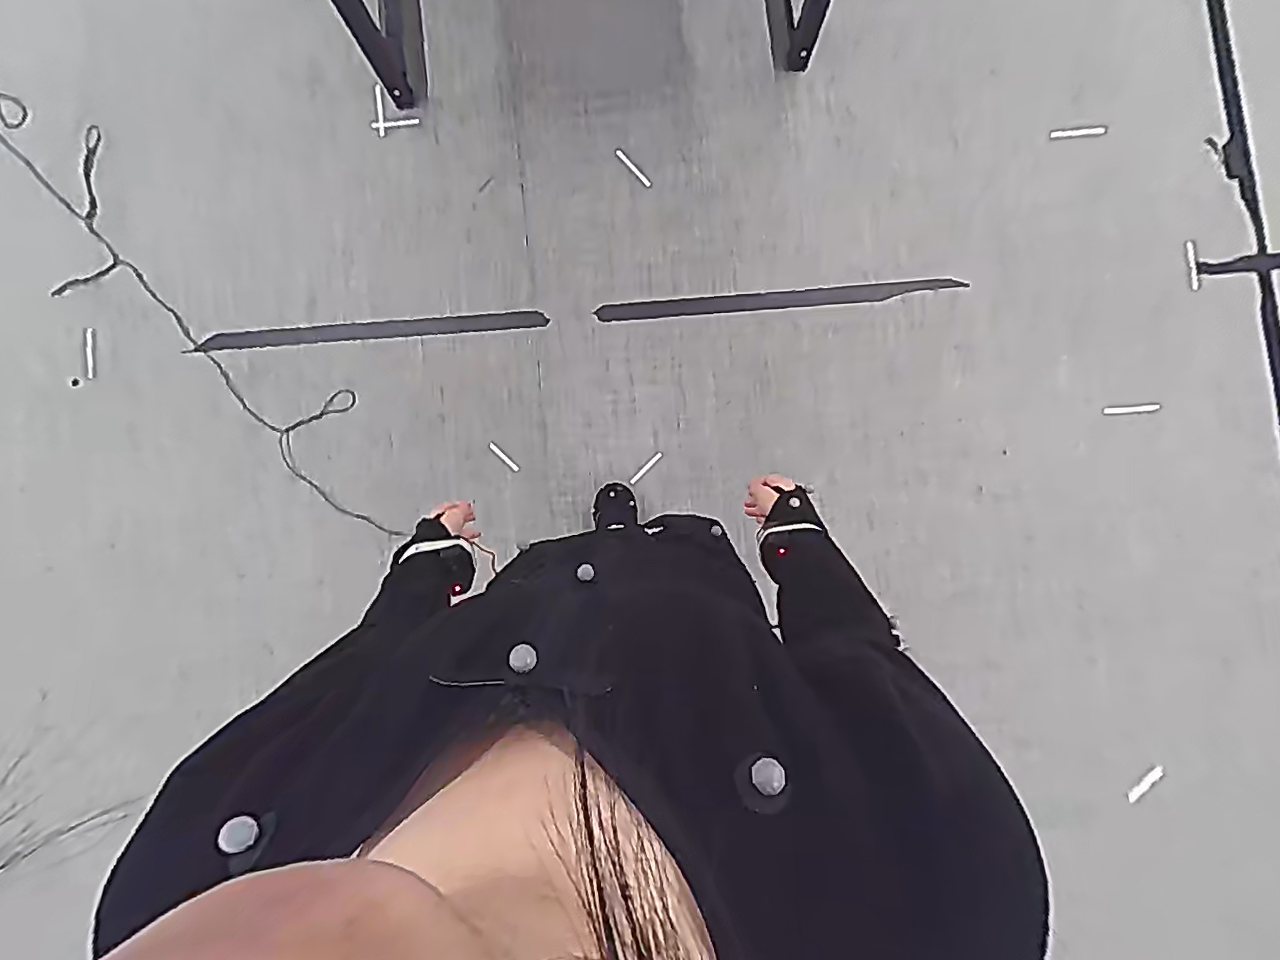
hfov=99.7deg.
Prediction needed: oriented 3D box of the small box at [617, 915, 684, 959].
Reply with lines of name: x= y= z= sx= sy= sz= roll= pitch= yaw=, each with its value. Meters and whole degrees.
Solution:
small box: x=0.032 y=1.244 z=1.364 sx=0.168 sy=0.176 sz=0.179 roll=-7 pitch=87 yaw=0
